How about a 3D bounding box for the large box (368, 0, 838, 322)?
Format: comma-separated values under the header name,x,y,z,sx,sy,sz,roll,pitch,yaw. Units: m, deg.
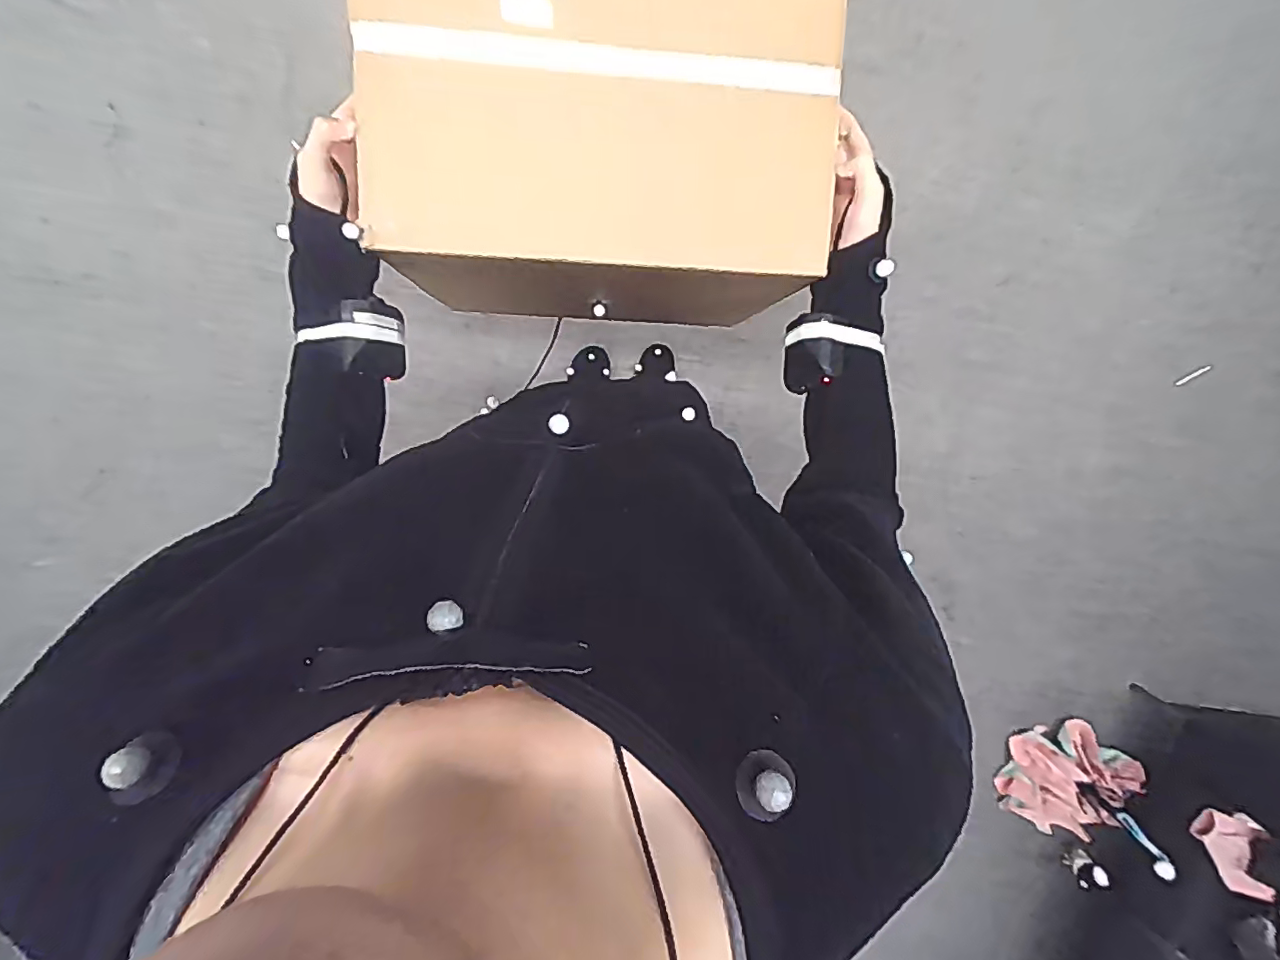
name,x,y,z,sx,sy,sz,roll,pitch,yaw
large box,-0.039,-0.360,0.611,0.408,0.320,0.320,1,97,-6
